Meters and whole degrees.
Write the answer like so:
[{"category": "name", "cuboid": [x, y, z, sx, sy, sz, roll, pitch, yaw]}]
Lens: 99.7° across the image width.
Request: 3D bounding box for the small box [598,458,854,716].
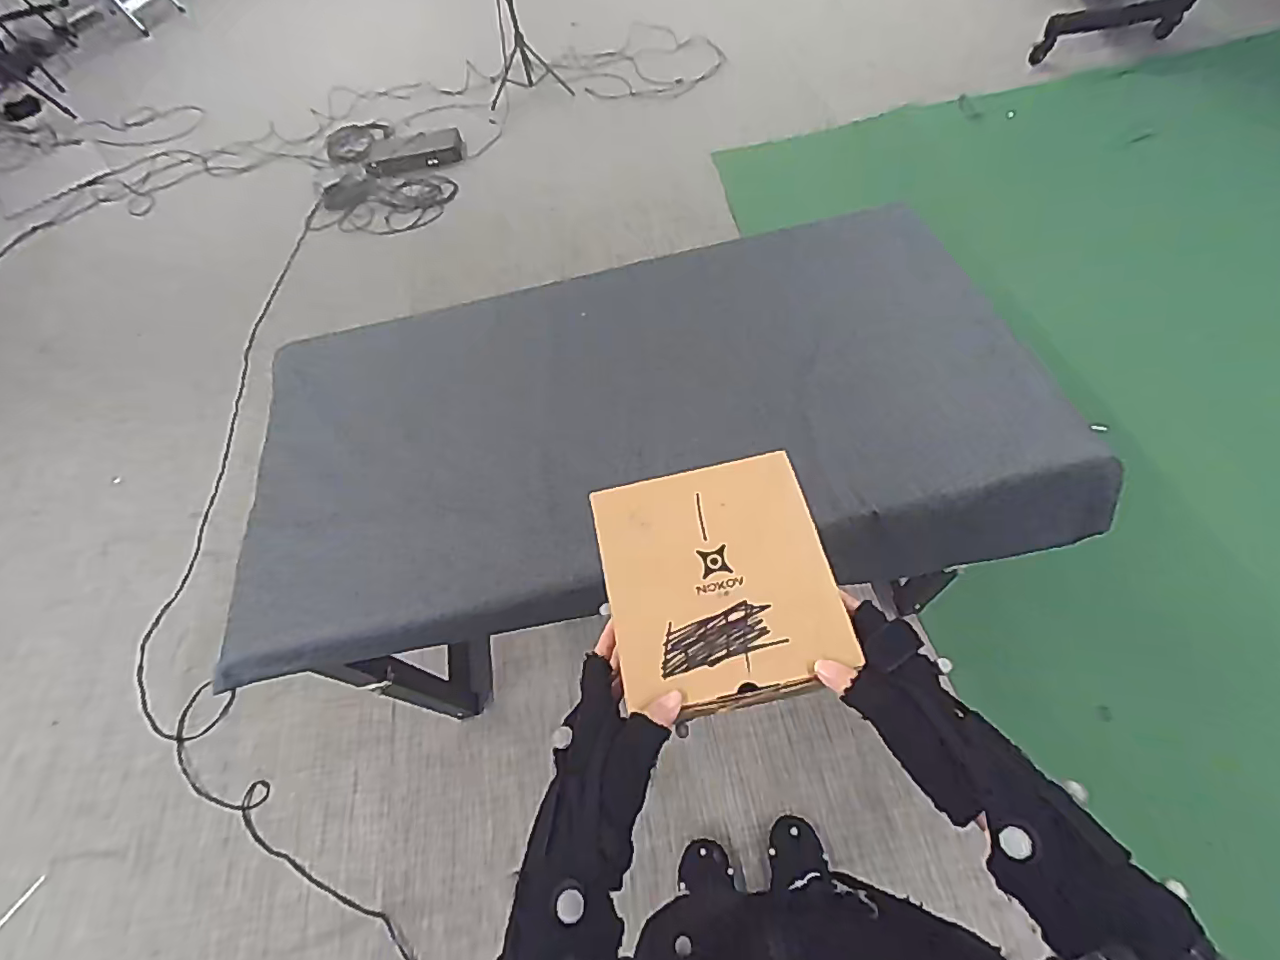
[{"category": "small box", "cuboid": [0.065, 0.106, 0.484, 0.168, 0.176, 0.179, -11, 63, -1]}]
